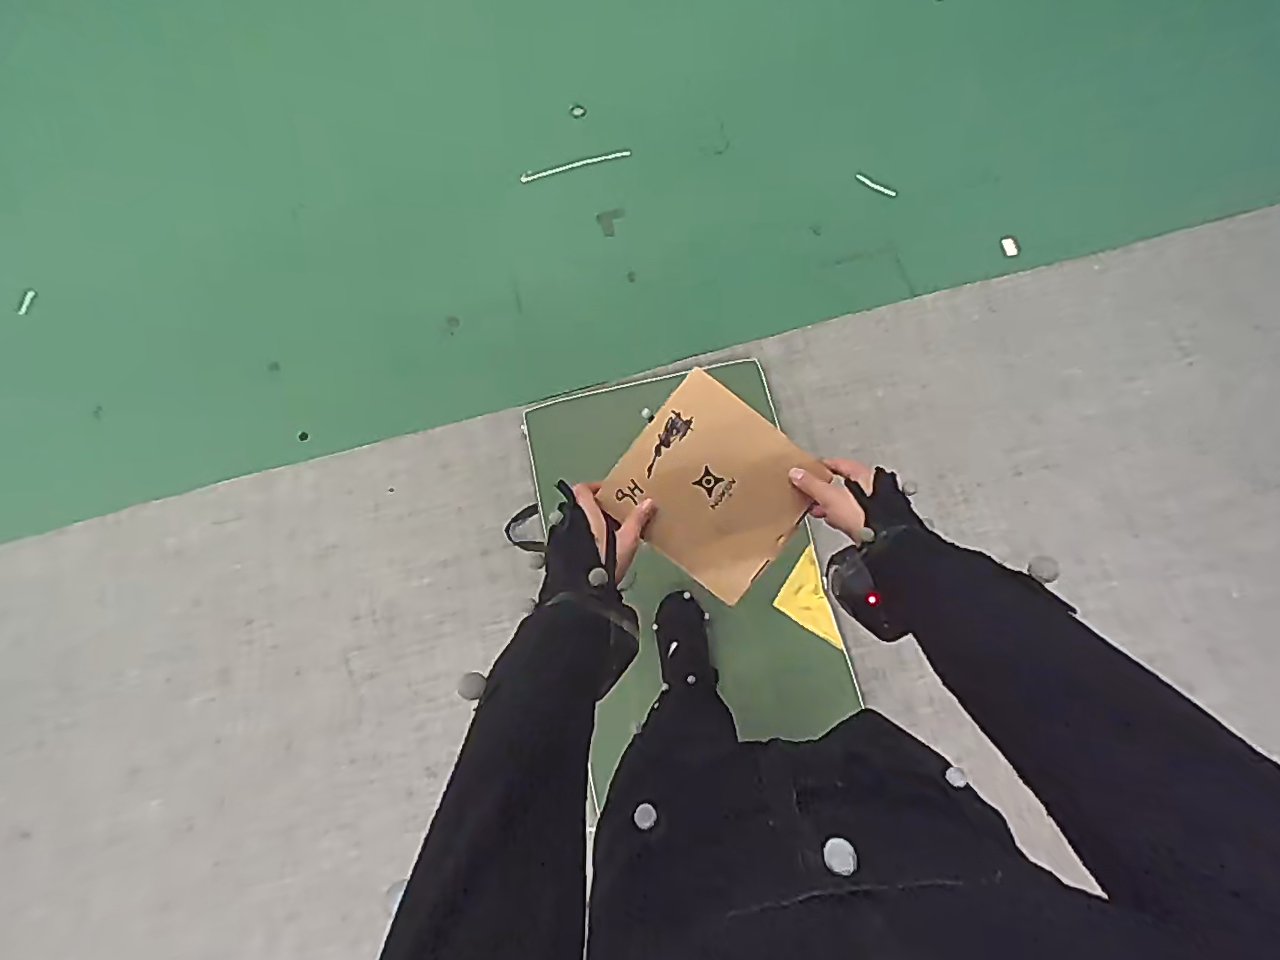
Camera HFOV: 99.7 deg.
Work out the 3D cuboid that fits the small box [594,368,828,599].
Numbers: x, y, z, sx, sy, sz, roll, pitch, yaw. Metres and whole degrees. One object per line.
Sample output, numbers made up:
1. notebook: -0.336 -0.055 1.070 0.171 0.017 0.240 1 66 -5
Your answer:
1. small box: 0.068 0.000 0.608 0.179 0.176 0.168 38 90 -3
